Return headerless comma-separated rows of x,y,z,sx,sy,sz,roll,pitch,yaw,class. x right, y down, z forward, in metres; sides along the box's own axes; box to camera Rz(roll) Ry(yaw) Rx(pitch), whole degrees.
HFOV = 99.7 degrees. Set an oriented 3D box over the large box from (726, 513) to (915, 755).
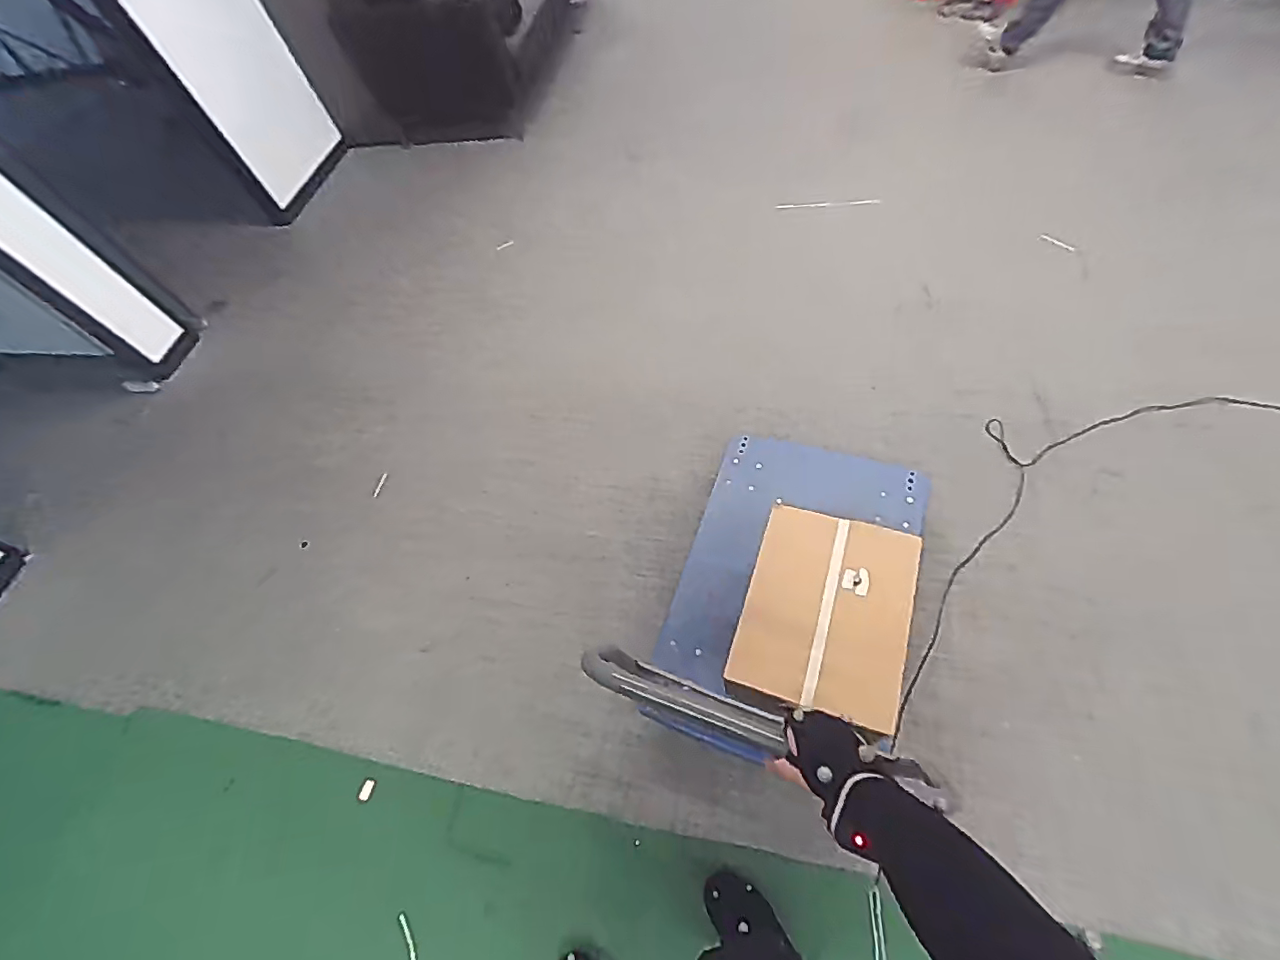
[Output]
0.398,0.347,1.219,0.320,0.320,0.408,14,62,18,large box
